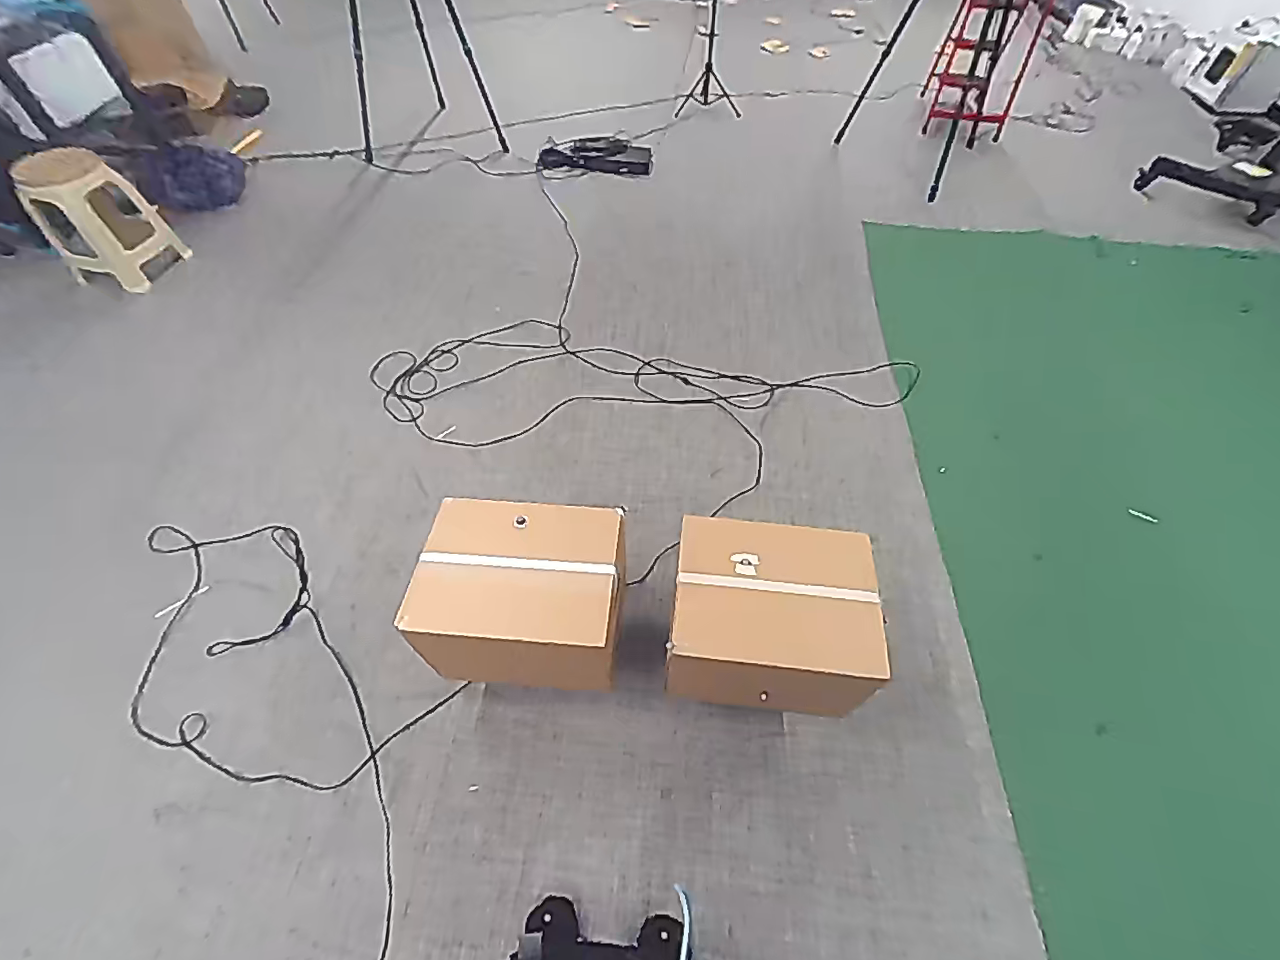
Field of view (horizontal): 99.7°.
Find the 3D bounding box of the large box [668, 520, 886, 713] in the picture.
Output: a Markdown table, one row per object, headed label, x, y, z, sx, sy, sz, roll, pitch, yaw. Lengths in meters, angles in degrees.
| label | x | y | z | sx | sy | sz | roll | pitch | yaw |
| --- | --- | --- | --- | --- | --- | --- | --- | --- | --- |
| large box | 0.280 | 0.316 | 1.222 | 0.408 | 0.320 | 0.320 | 6 | 54 | 4 |
